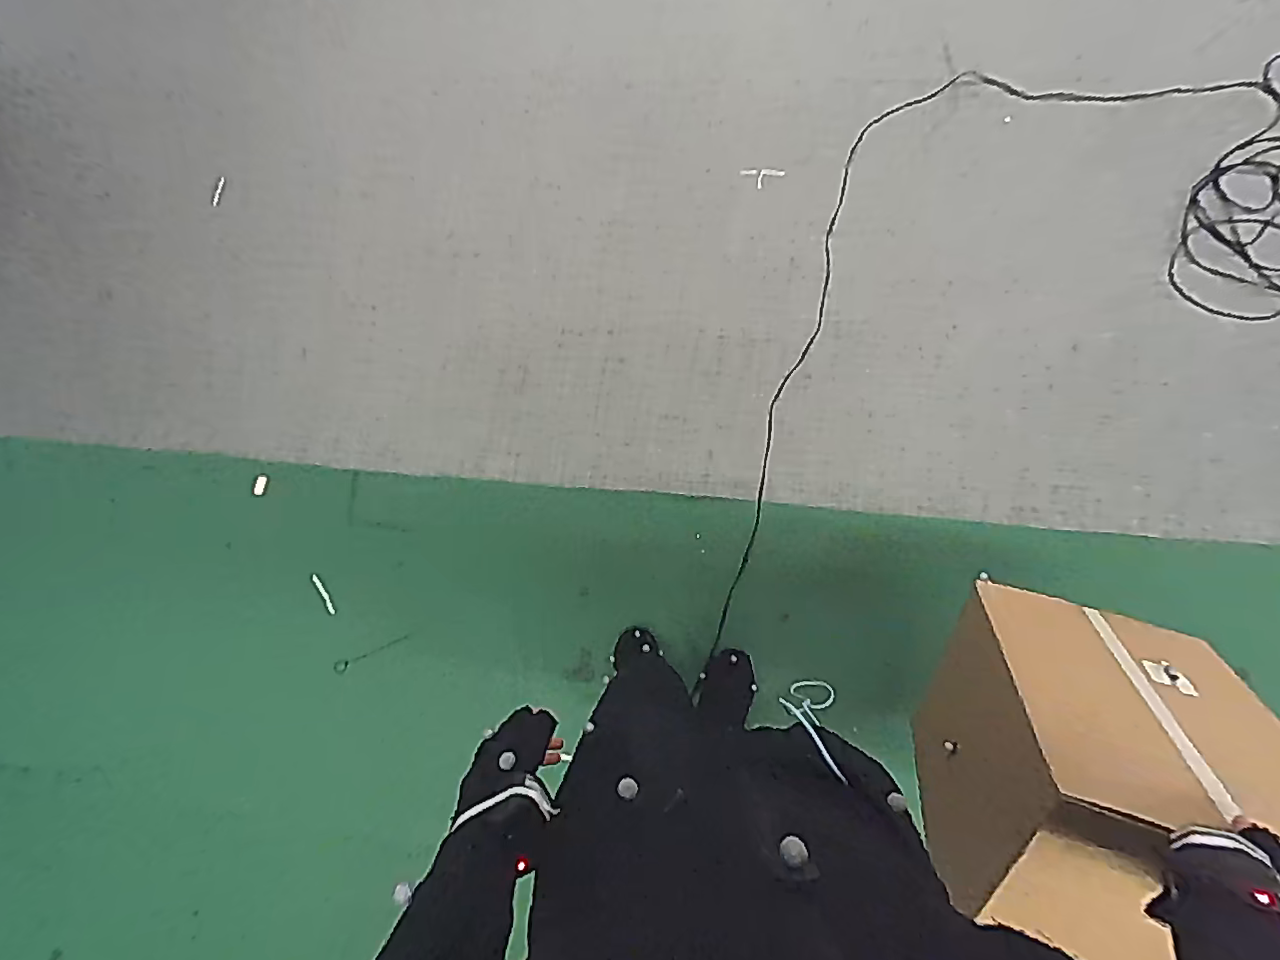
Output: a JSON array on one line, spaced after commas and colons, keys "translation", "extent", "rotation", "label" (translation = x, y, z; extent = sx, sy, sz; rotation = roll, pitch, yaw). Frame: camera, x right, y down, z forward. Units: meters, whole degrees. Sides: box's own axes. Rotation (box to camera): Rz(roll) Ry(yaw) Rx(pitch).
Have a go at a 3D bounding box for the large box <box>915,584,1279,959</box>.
[{"translation": [0.595, 0.407, 0.718], "extent": [0.320, 0.408, 0.320], "rotation": [15, 115, 14], "label": "large box"}]
